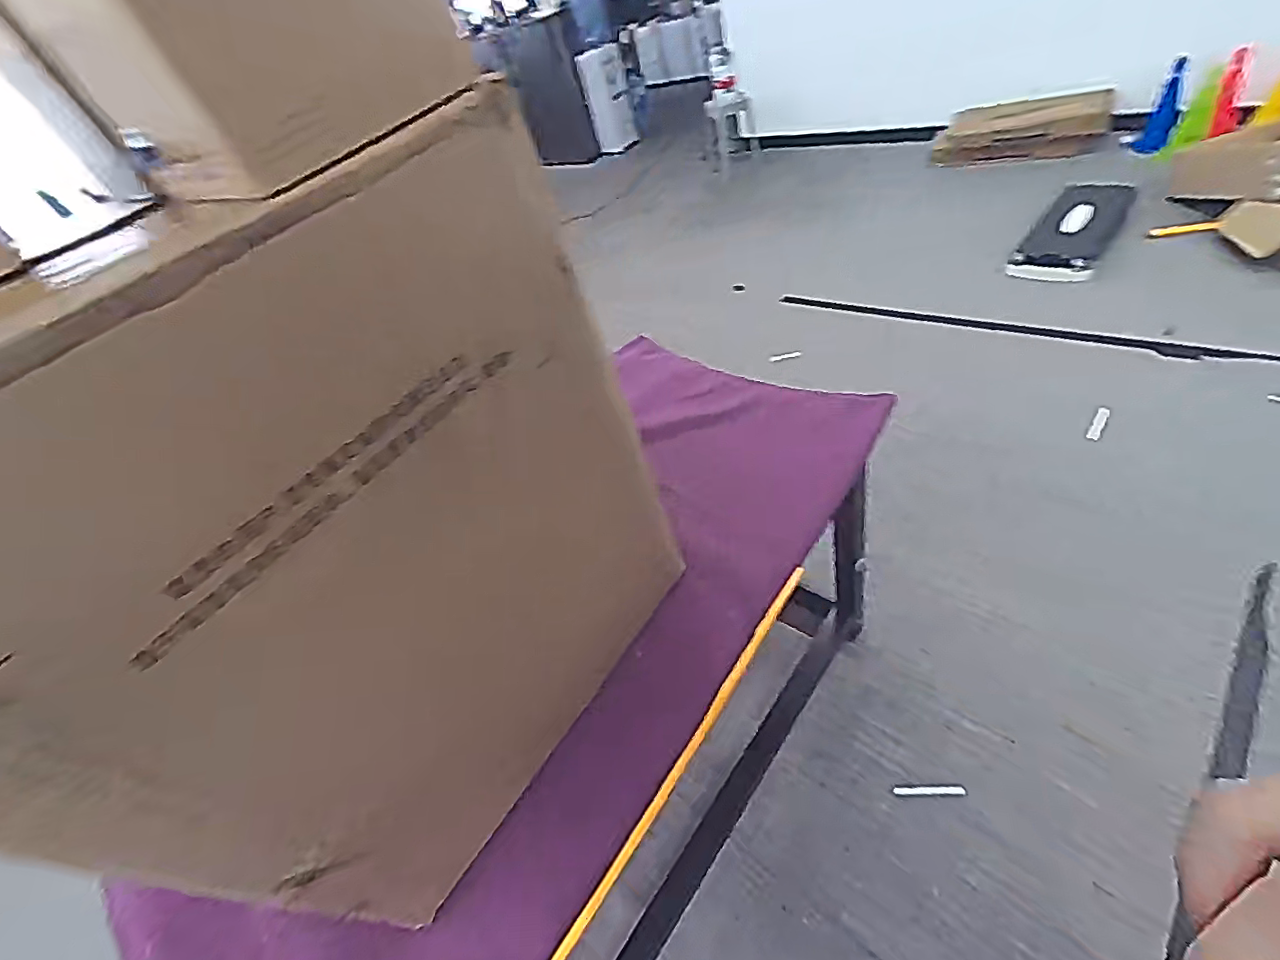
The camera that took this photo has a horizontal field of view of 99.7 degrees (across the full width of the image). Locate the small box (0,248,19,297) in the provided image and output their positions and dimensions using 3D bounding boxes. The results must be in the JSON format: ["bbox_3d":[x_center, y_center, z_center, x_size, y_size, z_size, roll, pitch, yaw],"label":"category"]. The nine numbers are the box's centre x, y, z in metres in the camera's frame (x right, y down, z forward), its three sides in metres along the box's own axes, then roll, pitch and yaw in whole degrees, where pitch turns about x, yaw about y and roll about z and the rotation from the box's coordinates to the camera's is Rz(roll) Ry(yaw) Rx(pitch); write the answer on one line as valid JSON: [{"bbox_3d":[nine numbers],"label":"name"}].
[{"bbox_3d":[-0.524,-0.153,0.307,0.179,0.176,0.168,24,58,37],"label":"small box"}]

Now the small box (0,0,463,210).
[{"bbox_3d":[-0.246,-0.282,0.326,0.168,0.176,0.179,18,57,34],"label":"small box"}]
